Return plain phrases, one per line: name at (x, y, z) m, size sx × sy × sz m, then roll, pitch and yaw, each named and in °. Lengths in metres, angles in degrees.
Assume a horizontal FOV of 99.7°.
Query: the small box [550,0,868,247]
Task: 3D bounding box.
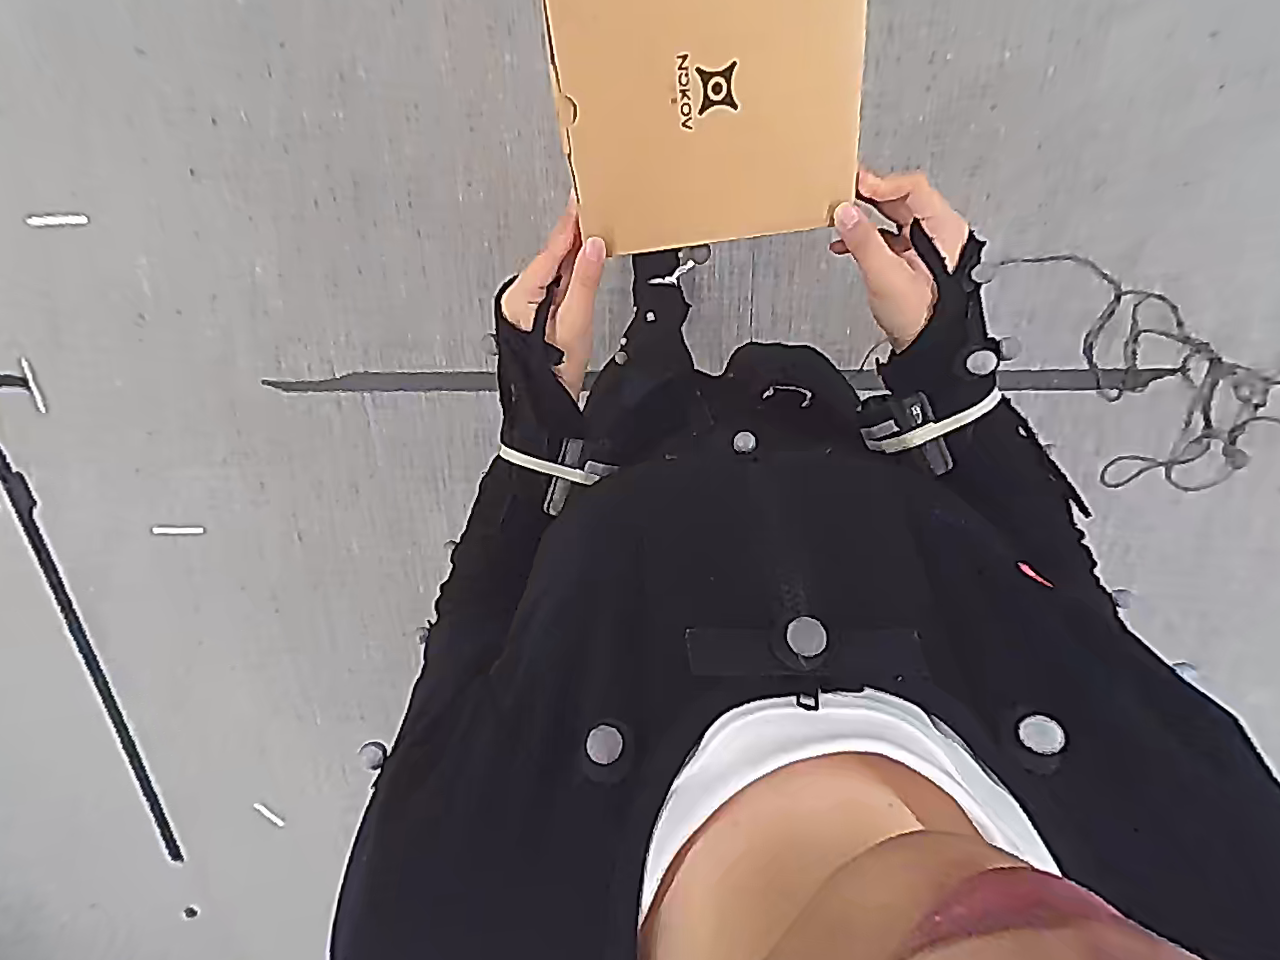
small box at (0.042, -0.274, 0.383) m, size 0.179 × 0.176 × 0.168 m, roll -6°, pitch 121°, yaw 4°
